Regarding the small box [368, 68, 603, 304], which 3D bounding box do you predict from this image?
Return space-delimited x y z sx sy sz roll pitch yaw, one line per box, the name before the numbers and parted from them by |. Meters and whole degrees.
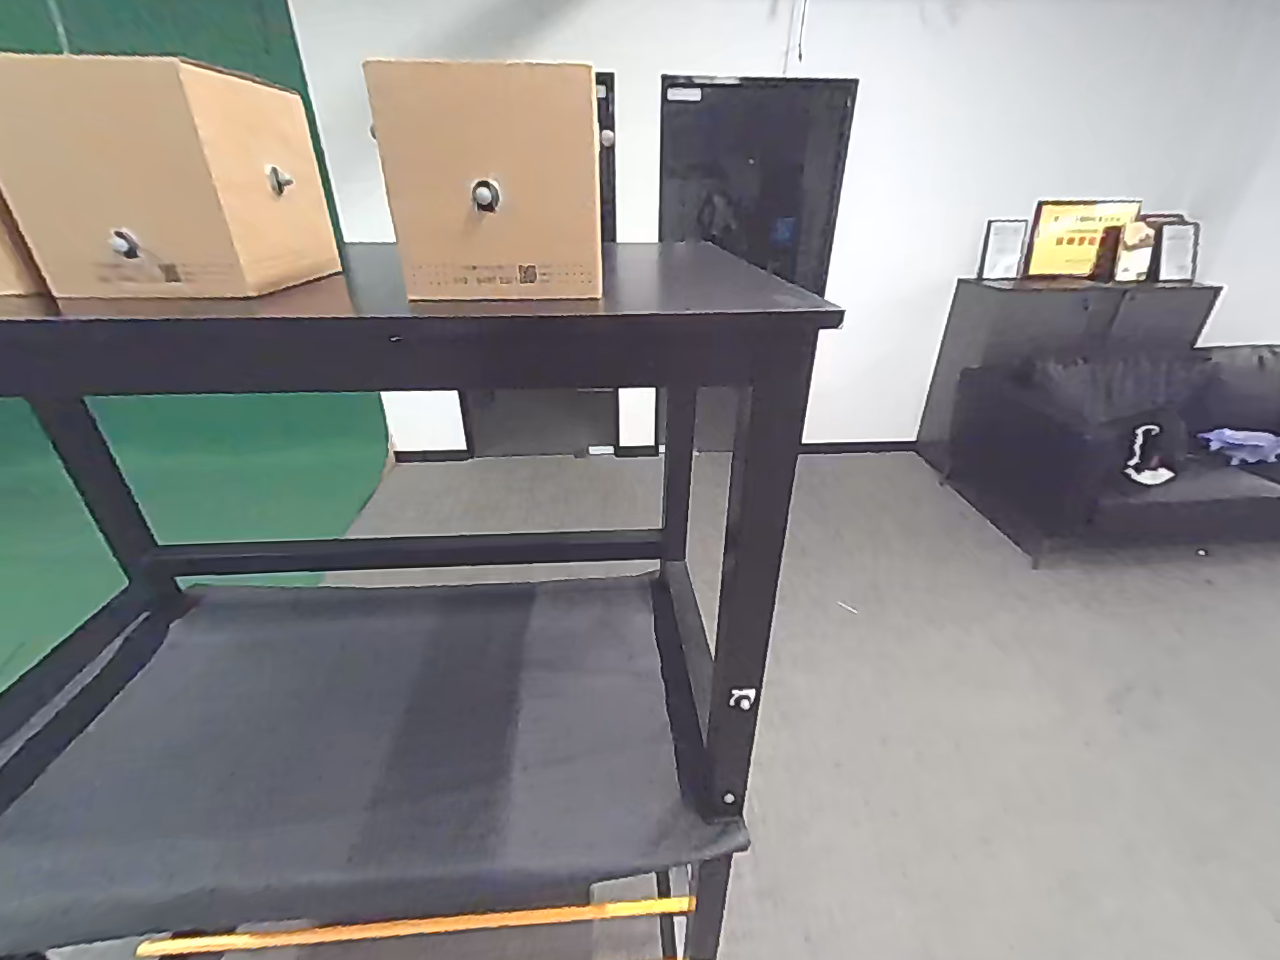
small box | -0.120 -0.263 0.502 0.168 0.176 0.179 -1 28 -3
